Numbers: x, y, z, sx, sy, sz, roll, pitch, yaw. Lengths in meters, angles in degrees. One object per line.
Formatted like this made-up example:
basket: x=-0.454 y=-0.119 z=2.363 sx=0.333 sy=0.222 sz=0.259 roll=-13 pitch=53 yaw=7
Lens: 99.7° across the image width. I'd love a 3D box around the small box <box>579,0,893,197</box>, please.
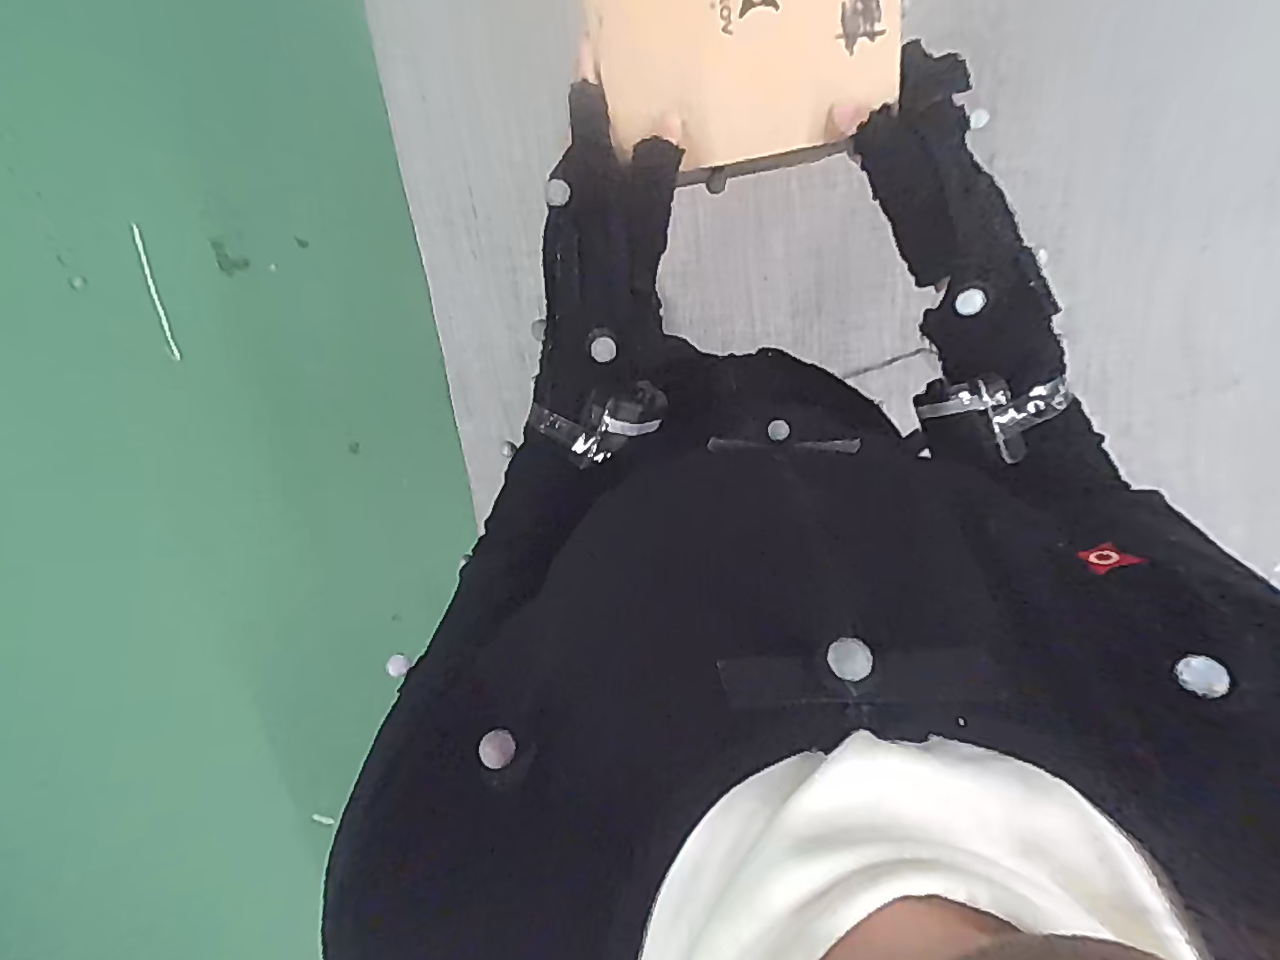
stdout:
small box: x=0.054 y=-0.312 z=0.379 sx=0.179 sy=0.176 sz=0.168 roll=-11 pitch=112 yaw=5
